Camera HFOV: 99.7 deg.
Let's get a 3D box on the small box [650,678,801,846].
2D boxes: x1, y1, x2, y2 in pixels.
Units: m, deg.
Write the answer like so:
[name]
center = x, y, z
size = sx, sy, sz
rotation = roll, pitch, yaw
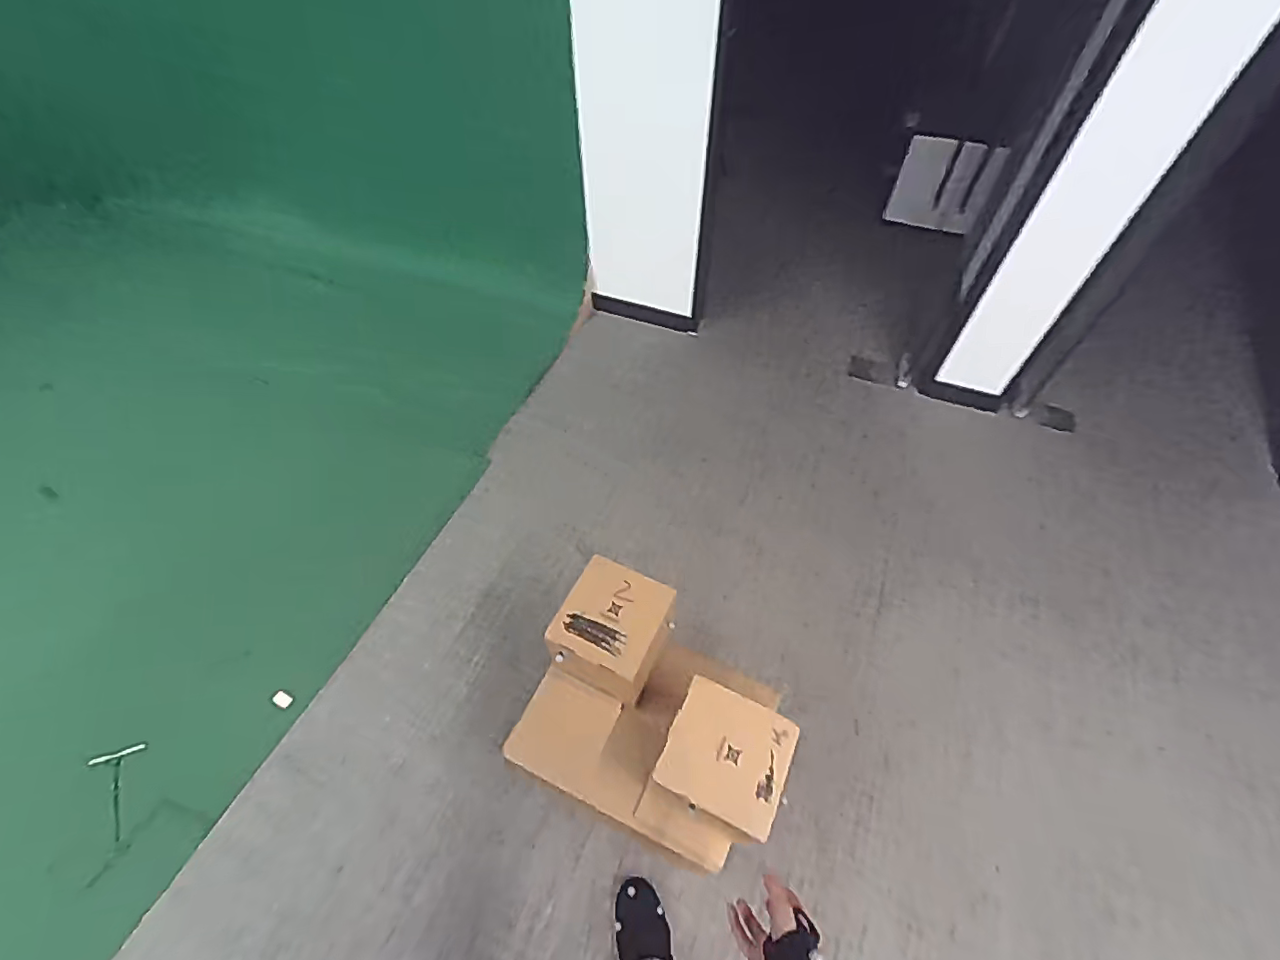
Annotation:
[small box]
center = 0.127, 0.446, 0.845
size = 0.179, 0.176, 0.168
rotation = 22, 58, 16
